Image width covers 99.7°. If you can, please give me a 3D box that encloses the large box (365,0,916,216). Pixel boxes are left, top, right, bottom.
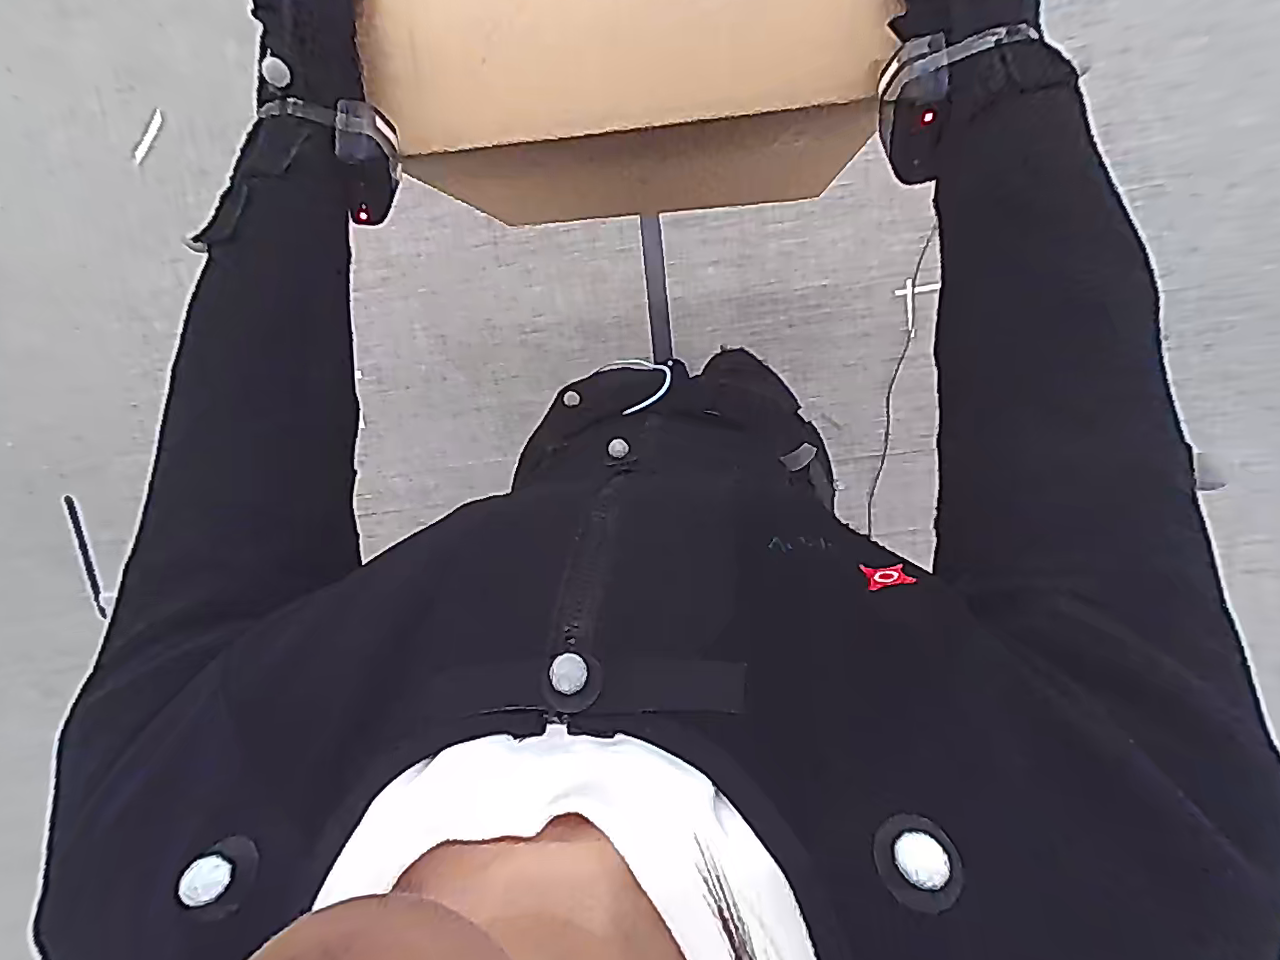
[{"bbox_3d":[-0.002,-0.466,0.511,0.408,0.320,0.320,-3,106,6],"label":"large box"}]
